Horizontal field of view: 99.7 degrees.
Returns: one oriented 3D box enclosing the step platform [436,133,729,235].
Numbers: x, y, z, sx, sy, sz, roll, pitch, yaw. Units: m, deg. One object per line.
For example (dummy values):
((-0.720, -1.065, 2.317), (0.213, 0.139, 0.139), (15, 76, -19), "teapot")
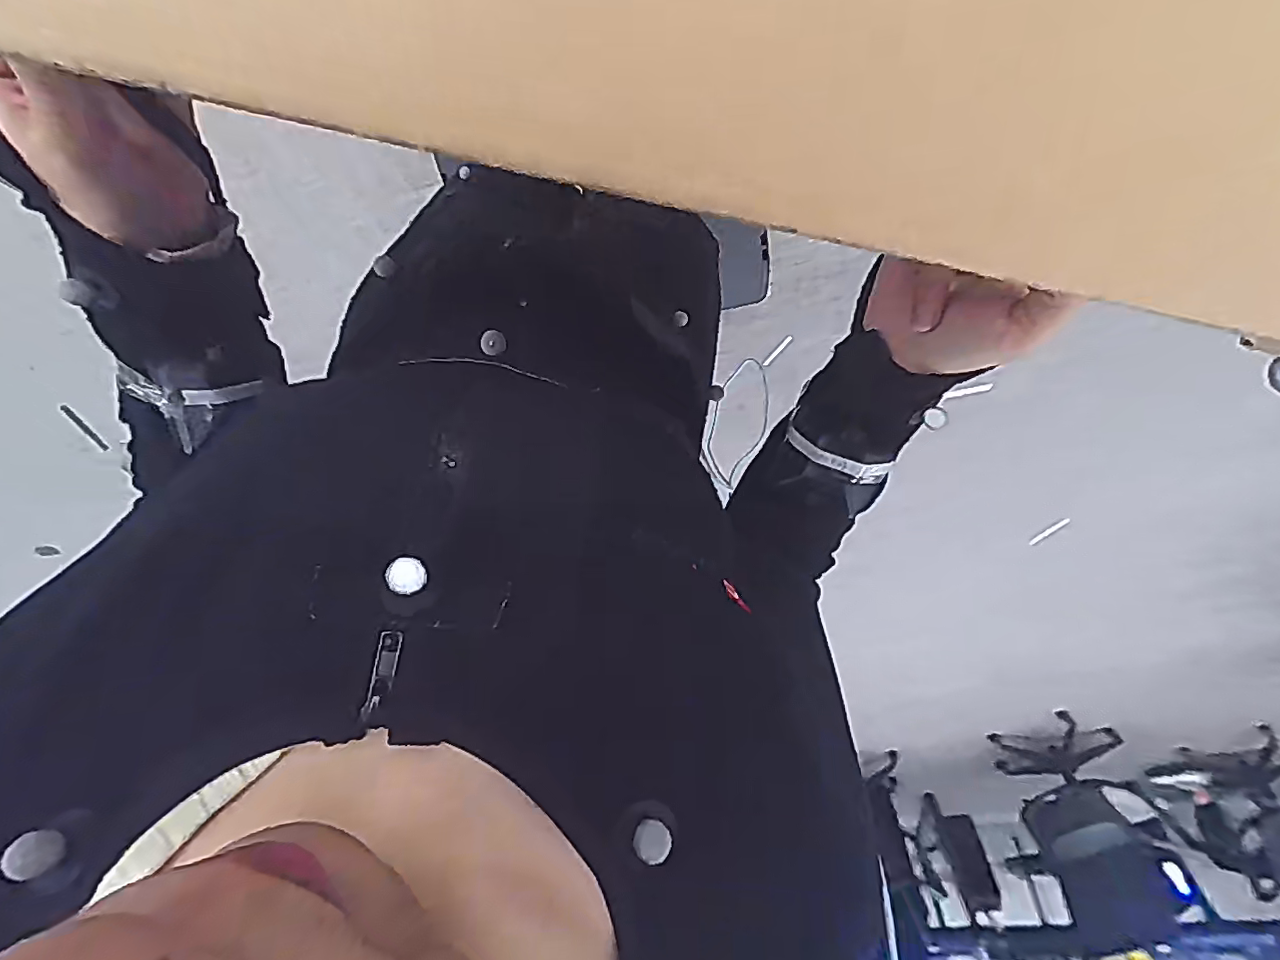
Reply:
((-0.071, -0.721, 1.133), (0.684, 0.204, 0.286), (-6, 130, 6), "step platform")
